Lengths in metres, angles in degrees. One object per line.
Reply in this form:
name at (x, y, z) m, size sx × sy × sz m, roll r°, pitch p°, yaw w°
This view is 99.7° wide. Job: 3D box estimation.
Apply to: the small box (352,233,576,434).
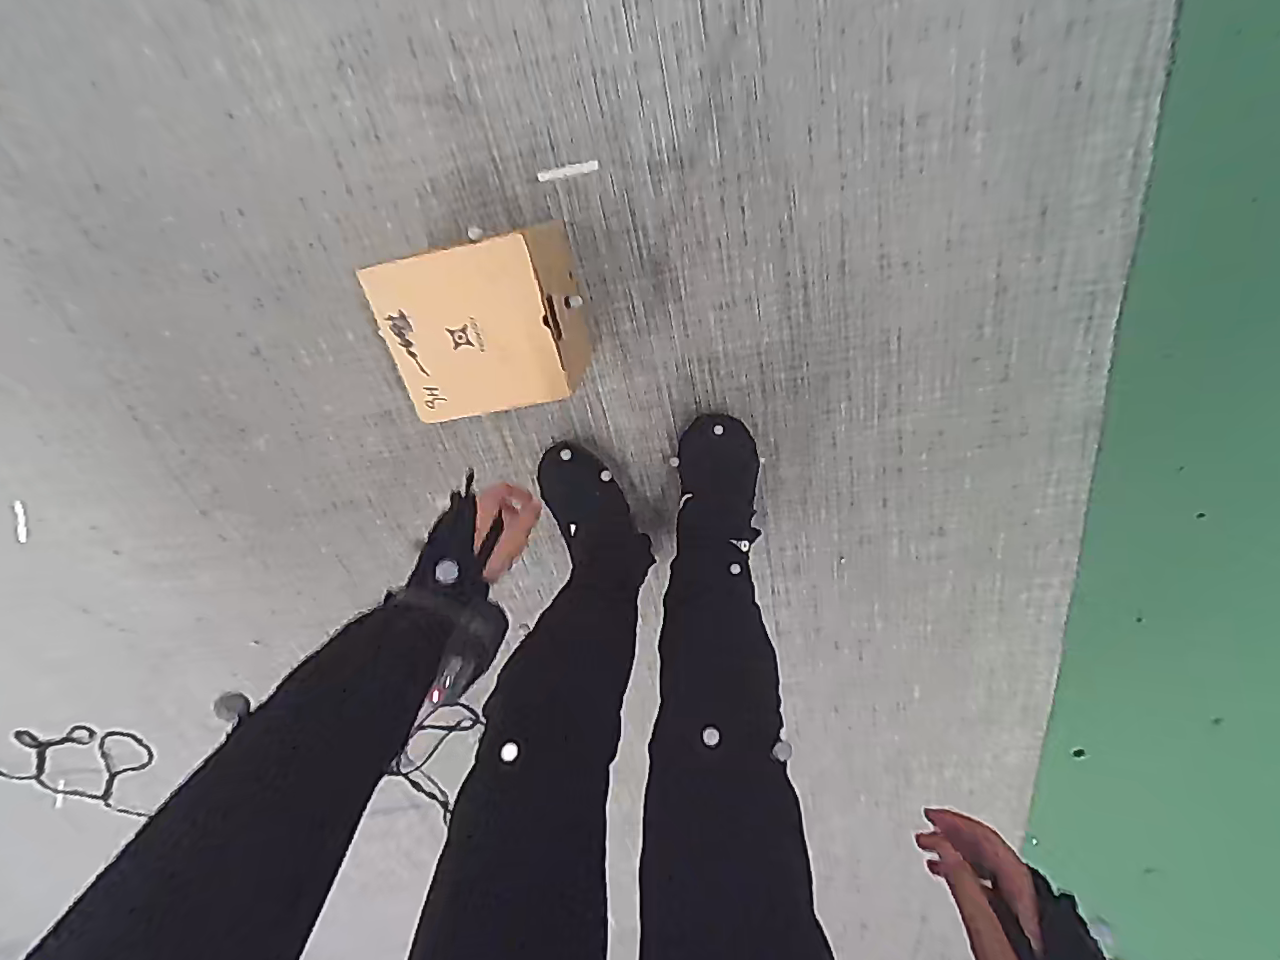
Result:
small box at (-0.177, -0.173, 0.617) m, size 0.179 × 0.176 × 0.168 m, roll -9°, pitch 119°, yaw 7°
